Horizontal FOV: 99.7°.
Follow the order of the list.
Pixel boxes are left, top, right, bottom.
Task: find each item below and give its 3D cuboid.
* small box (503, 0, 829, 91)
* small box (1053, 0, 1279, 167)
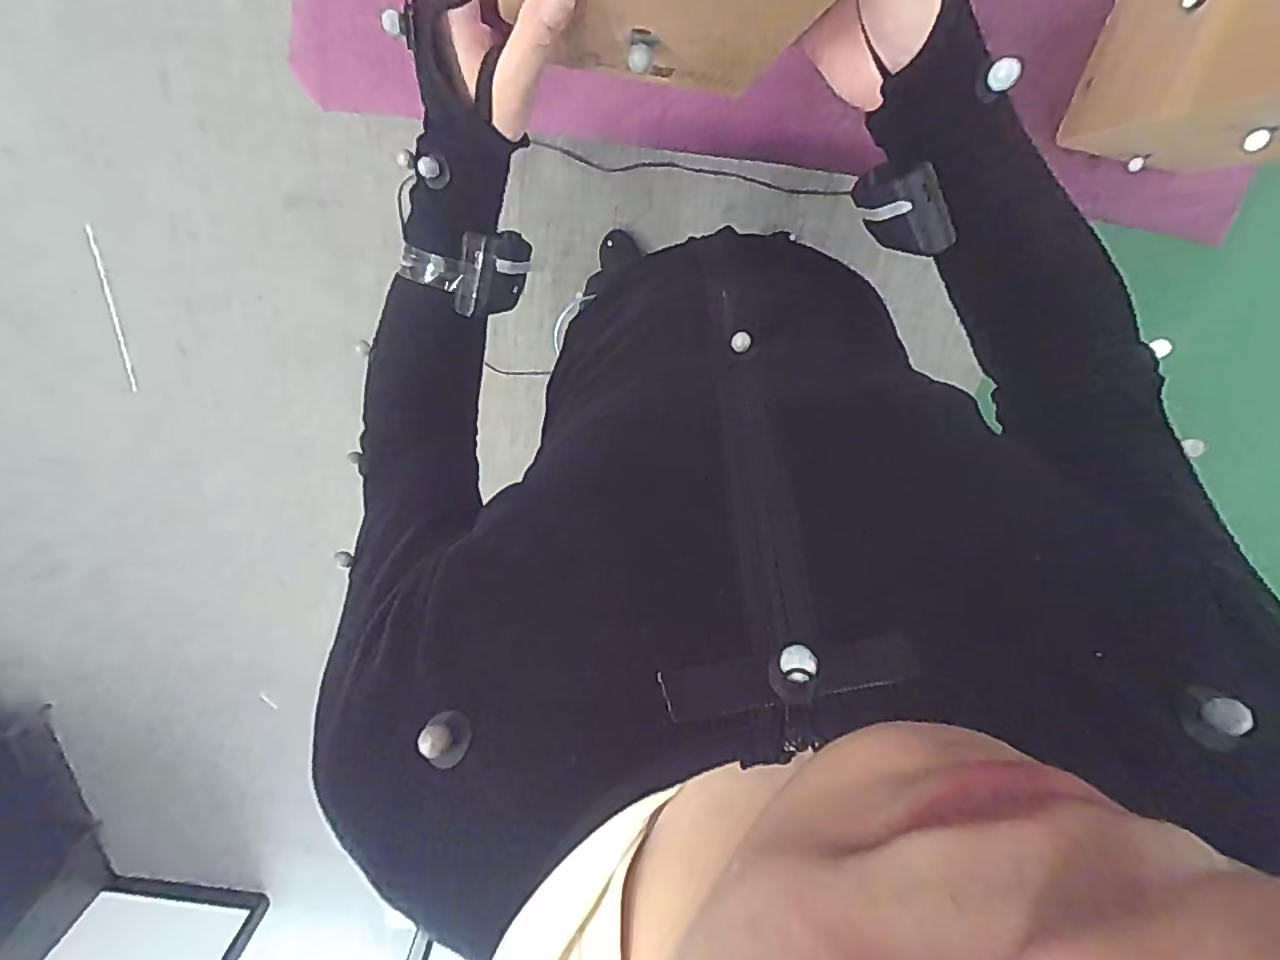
[{"bbox_3d":[0.015,-0.336,0.268,0.168,0.176,0.179,0,107,-13],"label":"small box"},{"bbox_3d":[0.614,-0.452,0.584,0.179,0.176,0.168,12,114,-2],"label":"small box"}]
